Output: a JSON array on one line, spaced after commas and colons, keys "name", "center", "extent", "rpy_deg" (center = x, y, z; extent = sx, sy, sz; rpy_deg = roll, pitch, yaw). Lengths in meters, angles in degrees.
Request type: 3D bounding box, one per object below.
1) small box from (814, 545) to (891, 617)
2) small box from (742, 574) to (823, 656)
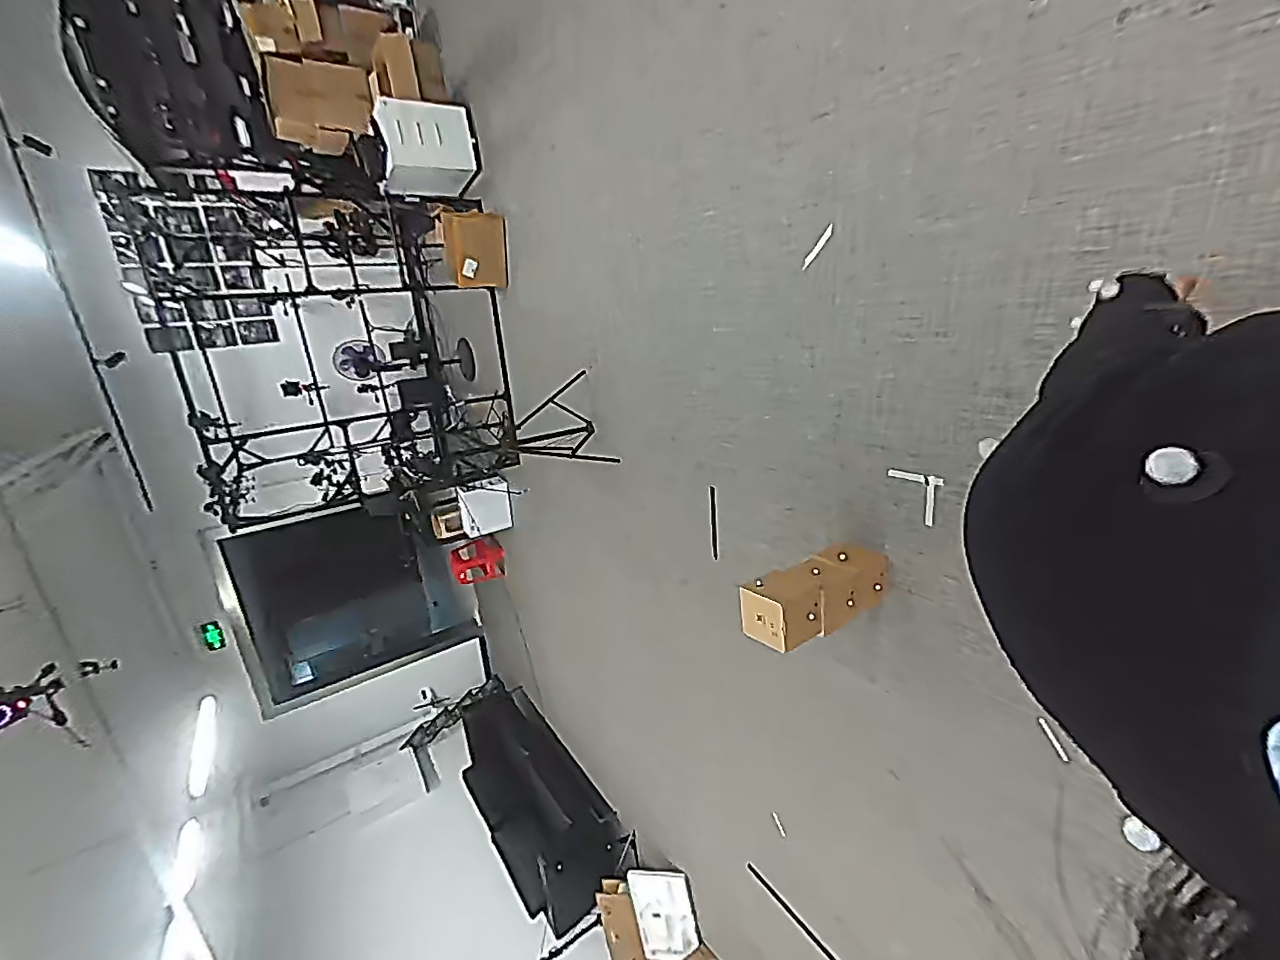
[{"name": "small box", "center": [0.713, 0.333, 1.823], "extent": [0.179, 0.176, 0.168], "rpy_deg": [19, 119, 53]}, {"name": "small box", "center": [0.437, 0.403, 1.657], "extent": [0.179, 0.176, 0.168], "rpy_deg": [13, 115, 54]}]
